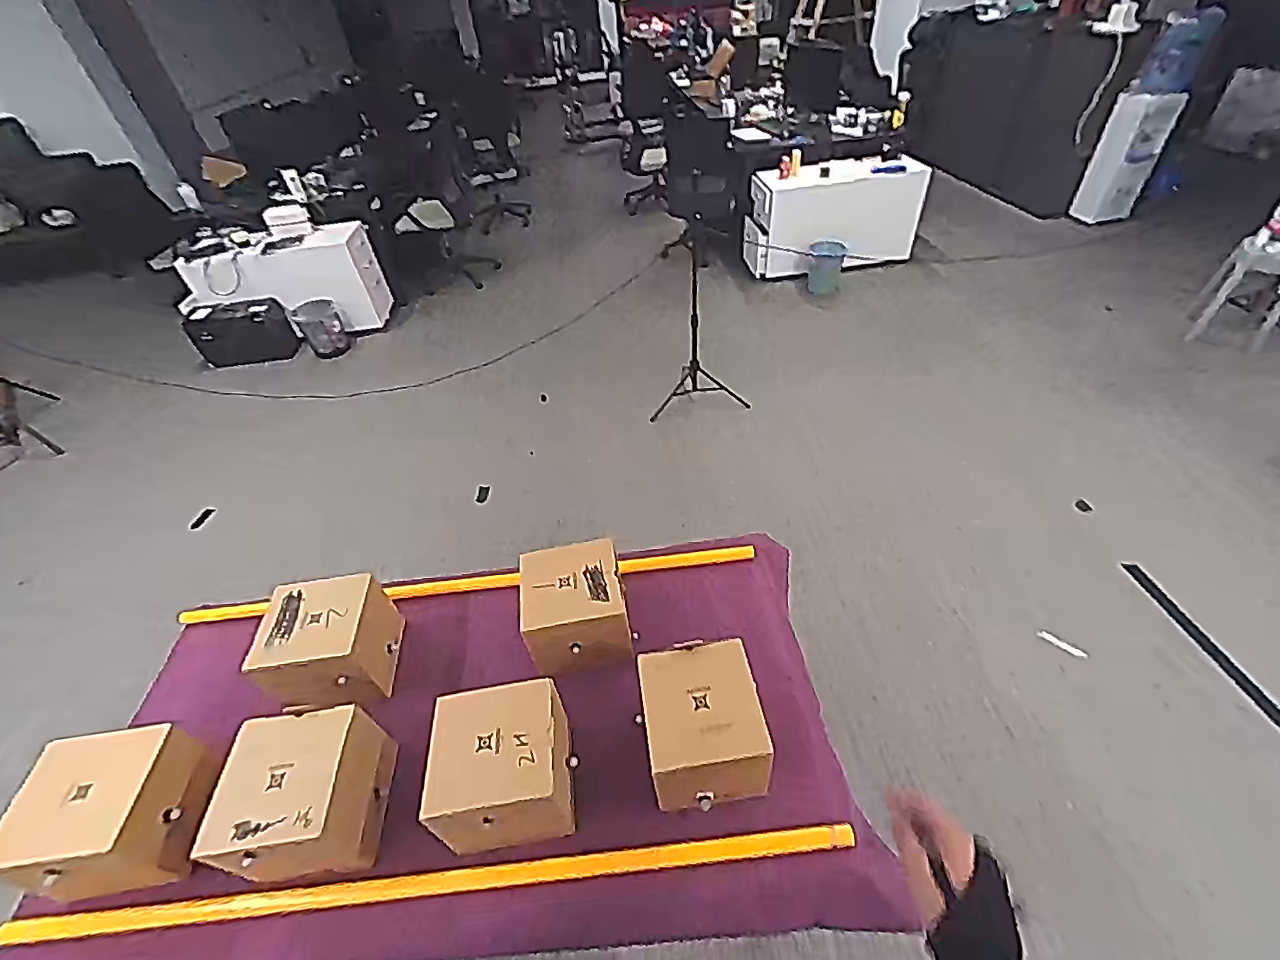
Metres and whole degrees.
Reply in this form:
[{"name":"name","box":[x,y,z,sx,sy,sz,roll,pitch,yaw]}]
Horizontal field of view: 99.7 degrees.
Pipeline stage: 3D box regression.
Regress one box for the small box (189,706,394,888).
[{"name":"small box","box":[-0.485,0.462,0.790,0.168,0.176,0.179,-9,43,0]}]

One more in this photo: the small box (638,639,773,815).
[{"name":"small box","box":[0.092,0.370,0.815,0.168,0.176,0.179,-10,41,-1]}]

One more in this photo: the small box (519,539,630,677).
[{"name":"small box","box":[-0.115,0.235,0.986,0.179,0.176,0.168,-10,44,-3]}]

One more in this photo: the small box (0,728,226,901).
[{"name":"small box","box":[-0.765,0.491,0.794,0.179,0.176,0.168,-8,43,-3]}]

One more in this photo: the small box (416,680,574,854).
[{"name":"small box","box":[-0.201,0.424,0.796,0.179,0.176,0.168,-9,42,-2]}]
